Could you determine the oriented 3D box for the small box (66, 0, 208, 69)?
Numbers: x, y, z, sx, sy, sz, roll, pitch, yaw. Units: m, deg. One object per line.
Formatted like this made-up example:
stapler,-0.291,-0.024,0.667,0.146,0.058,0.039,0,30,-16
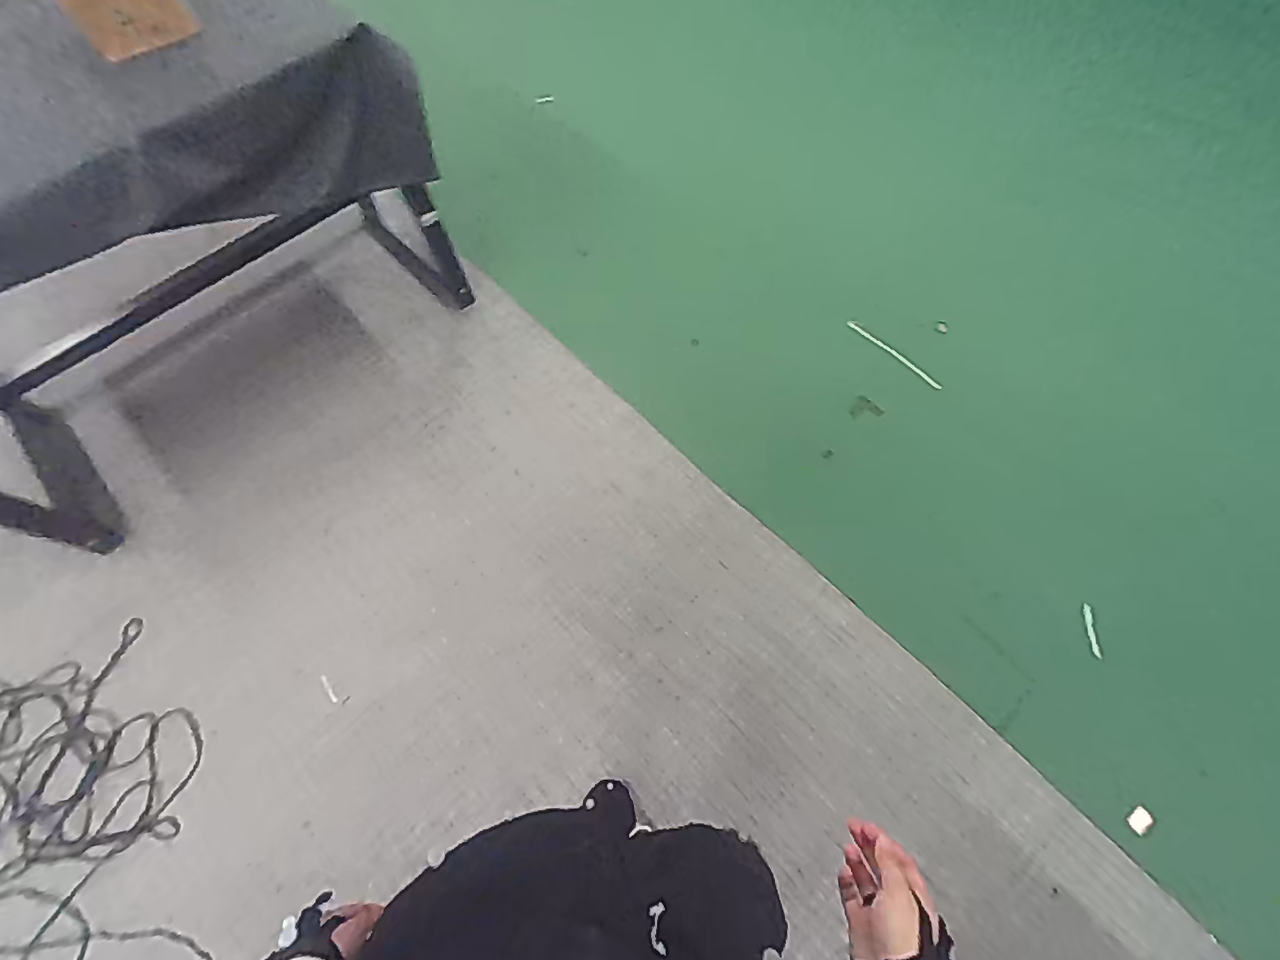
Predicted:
small box,-0.919,-0.877,0.954,0.168,0.176,0.179,-31,69,-11
